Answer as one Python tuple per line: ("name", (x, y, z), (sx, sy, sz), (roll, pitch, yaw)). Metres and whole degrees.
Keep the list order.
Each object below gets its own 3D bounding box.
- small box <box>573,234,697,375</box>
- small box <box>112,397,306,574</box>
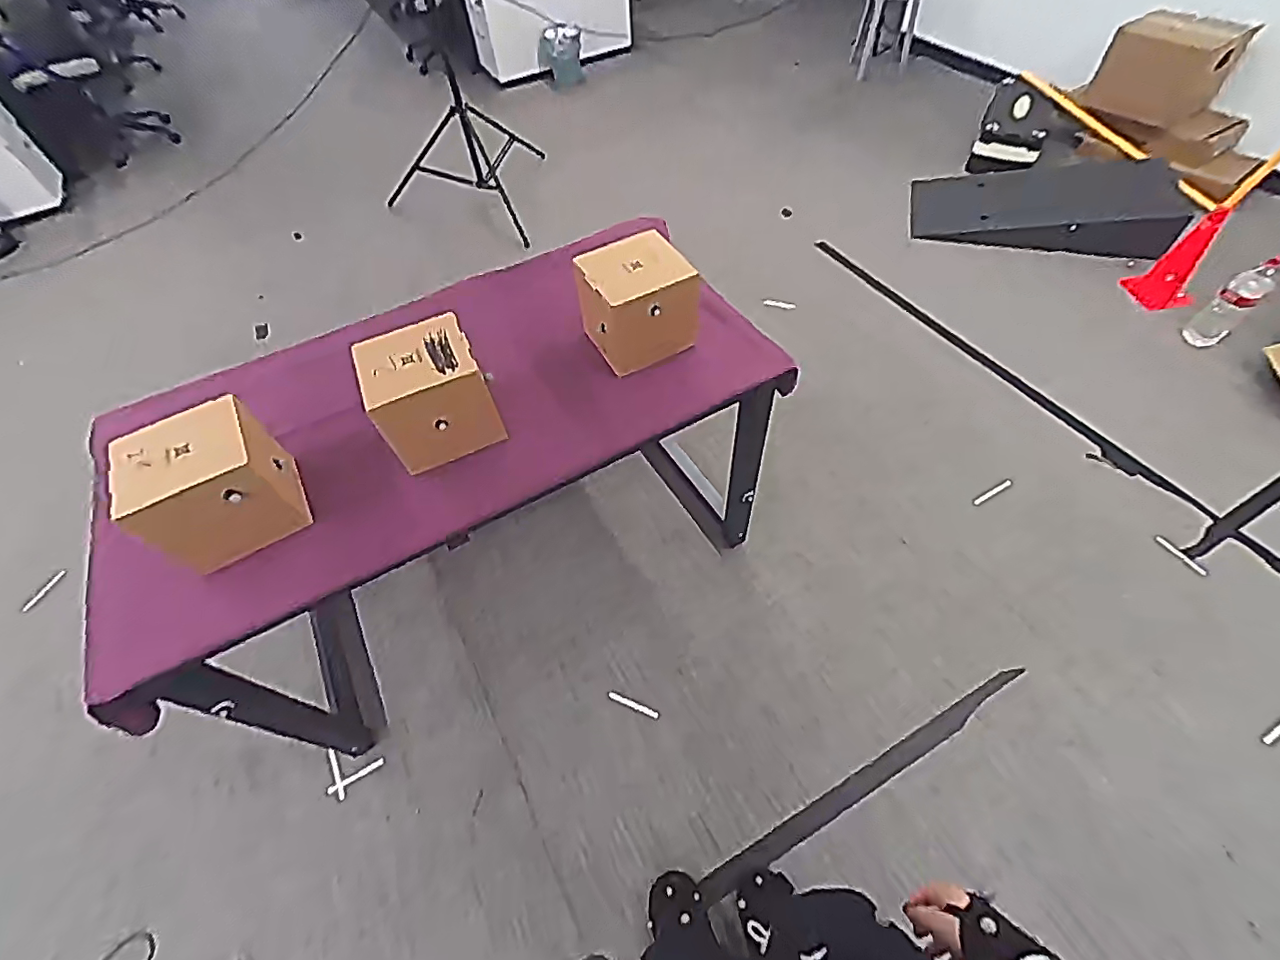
("small box", (-0.005, -0.329, 1.027), (0.179, 0.176, 0.168), (-25, 58, -14))
("small box", (-0.648, 0.011, 0.833), (0.179, 0.176, 0.168), (-29, 57, -15))
